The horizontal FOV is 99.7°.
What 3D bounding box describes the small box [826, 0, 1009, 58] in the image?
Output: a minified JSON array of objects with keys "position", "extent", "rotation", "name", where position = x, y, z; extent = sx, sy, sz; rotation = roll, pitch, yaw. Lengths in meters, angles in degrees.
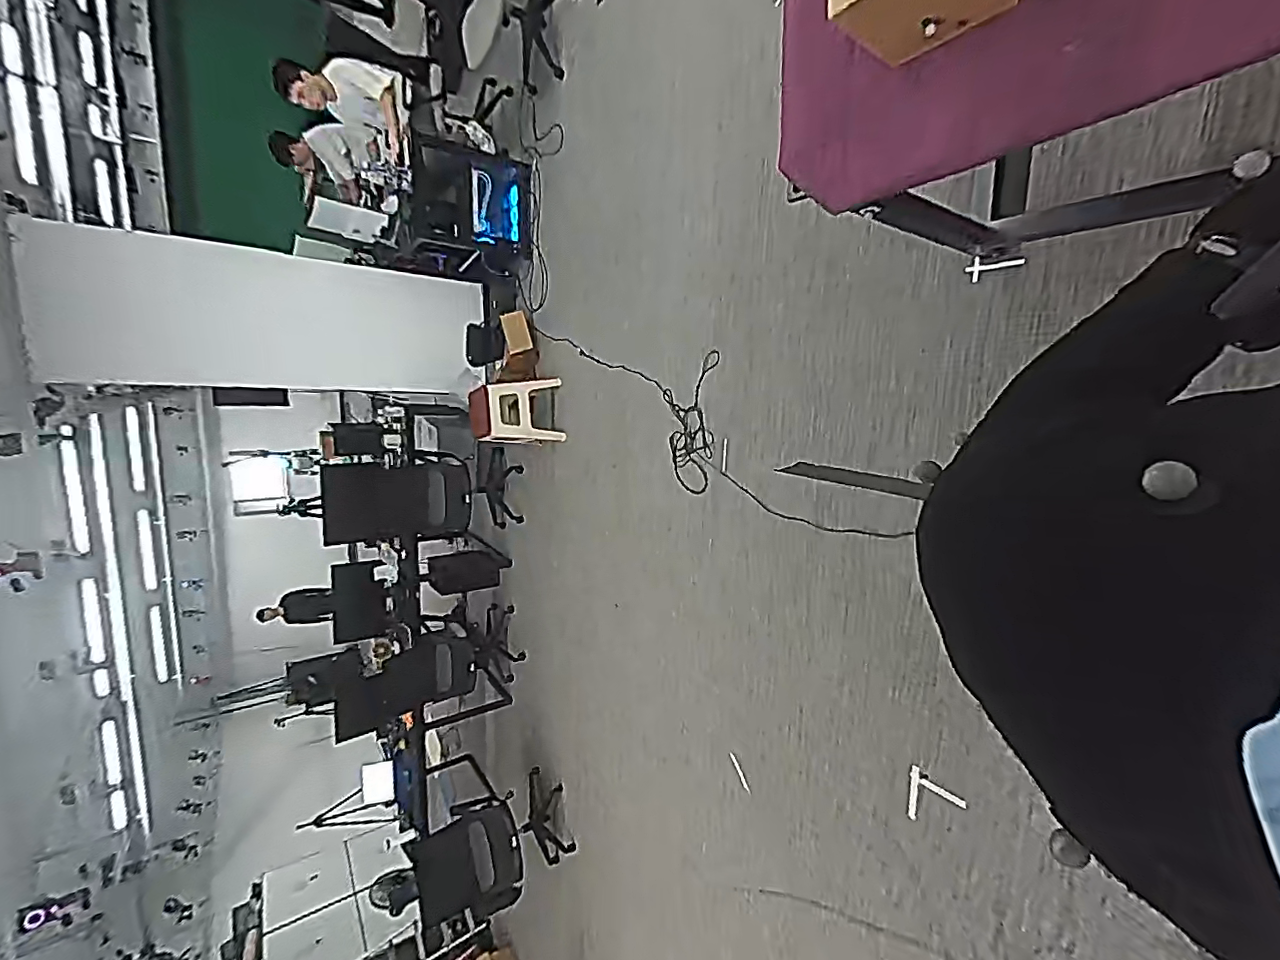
[{"position":[0.355,-0.683,0.670],"extent":[0.168,0.176,0.179],"rotation":[10,102,53],"name":"small box"}]
